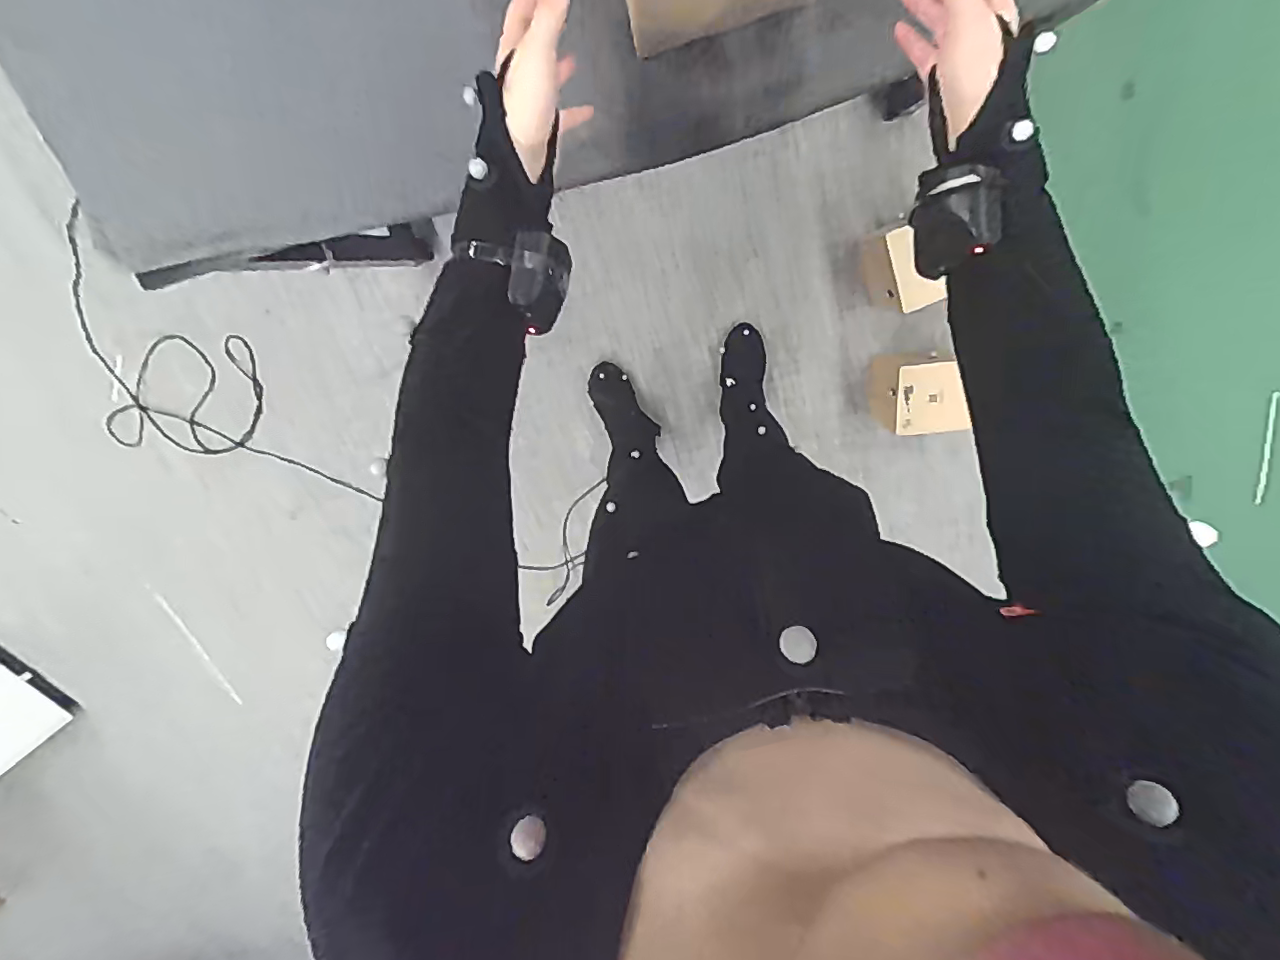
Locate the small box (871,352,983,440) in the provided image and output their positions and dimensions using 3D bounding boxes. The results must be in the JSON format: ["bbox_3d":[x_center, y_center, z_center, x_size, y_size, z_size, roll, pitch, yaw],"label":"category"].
[{"bbox_3d":[0.674,-0.205,1.290,0.179,0.176,0.168,-5,112,5],"label":"small box"}]

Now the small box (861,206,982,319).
[{"bbox_3d":[0.609,-0.475,1.185,0.168,0.176,0.179,-21,109,10],"label":"small box"}]
